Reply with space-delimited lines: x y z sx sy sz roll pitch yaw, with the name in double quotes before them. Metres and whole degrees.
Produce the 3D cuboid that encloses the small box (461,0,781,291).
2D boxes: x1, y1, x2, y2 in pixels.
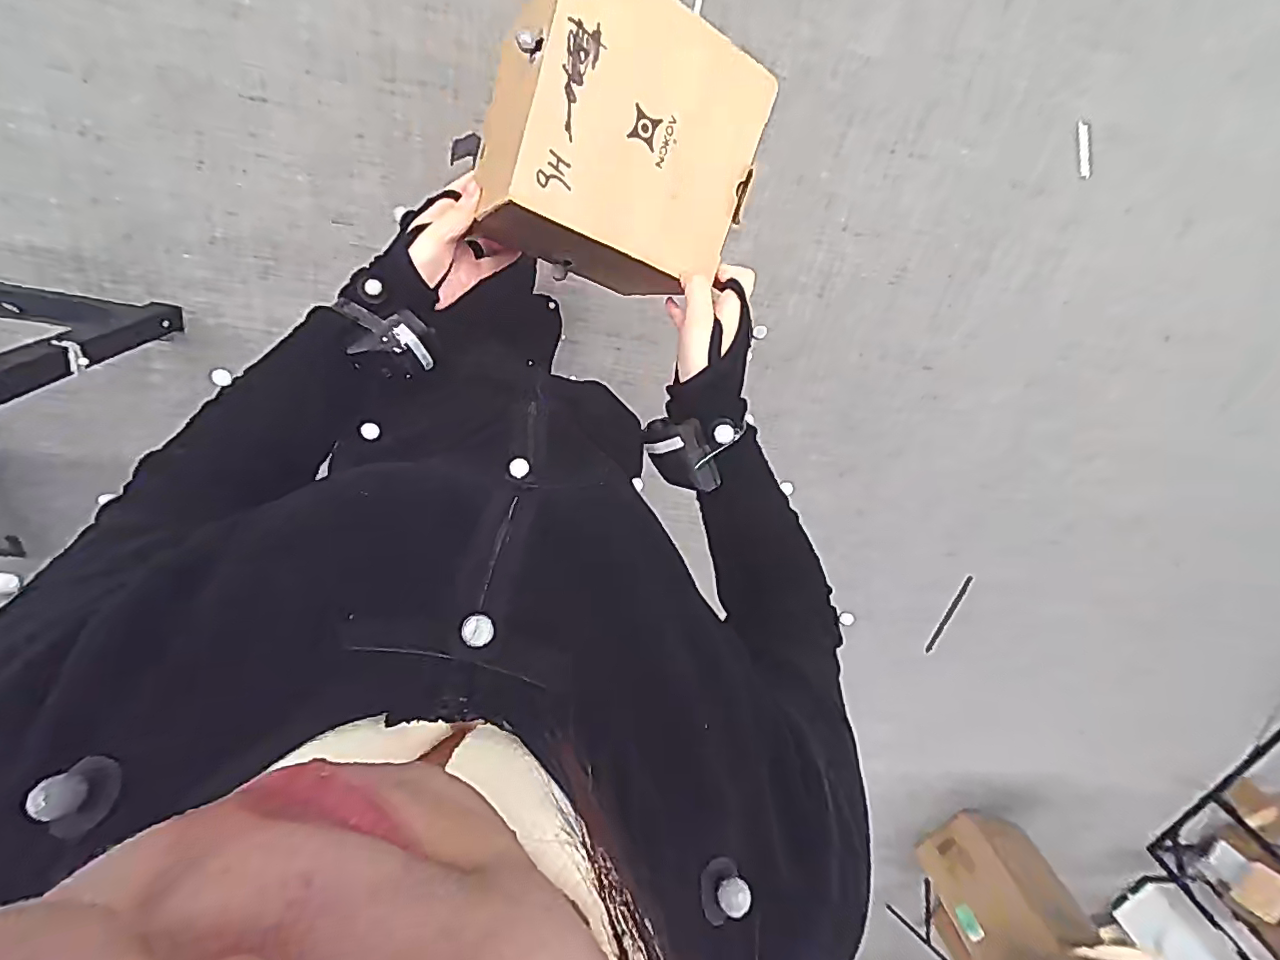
"small box" -0.027 -0.267 0.439 0.179 0.176 0.168 13 100 -32
